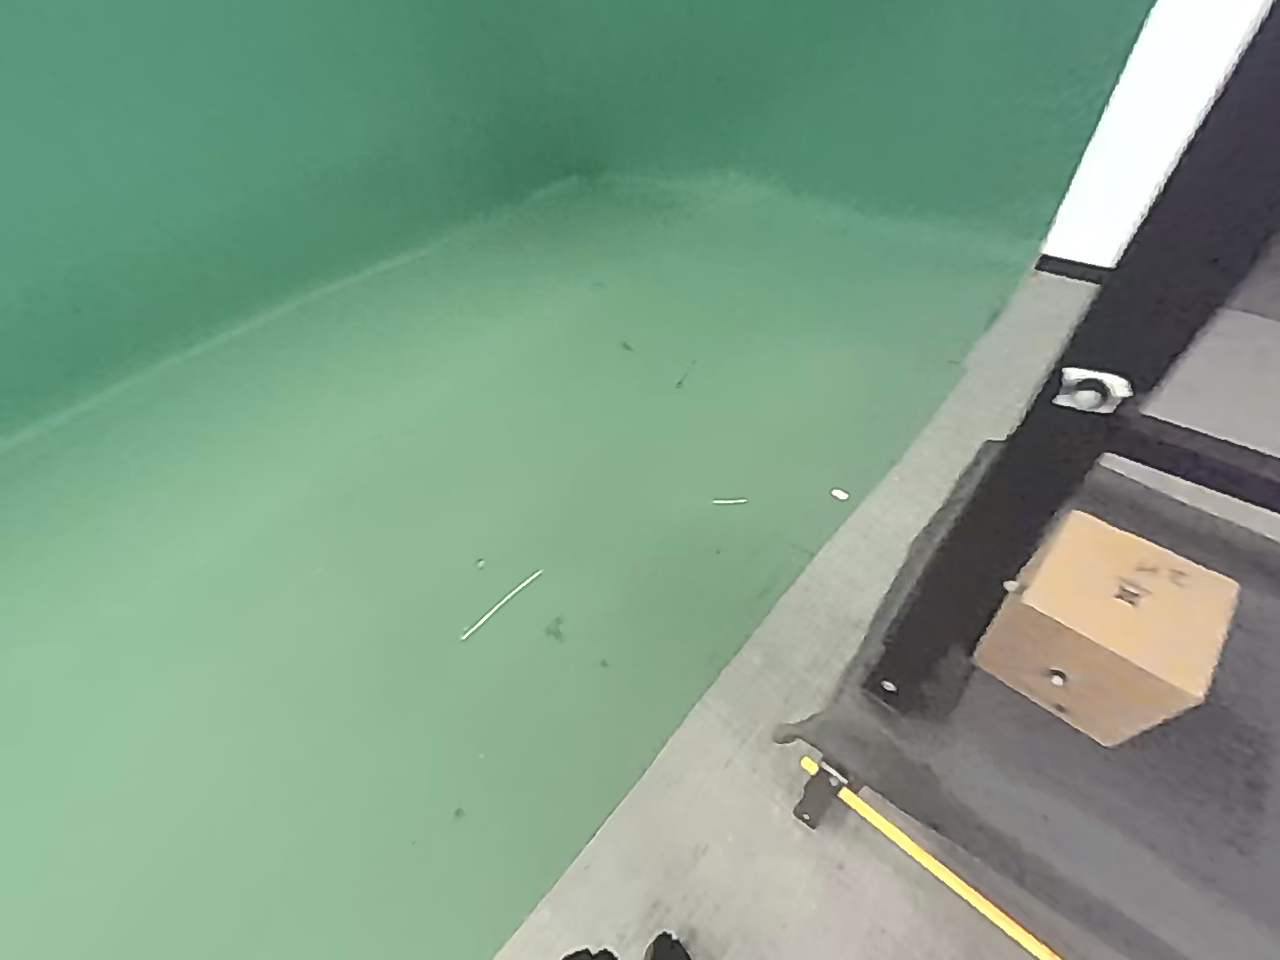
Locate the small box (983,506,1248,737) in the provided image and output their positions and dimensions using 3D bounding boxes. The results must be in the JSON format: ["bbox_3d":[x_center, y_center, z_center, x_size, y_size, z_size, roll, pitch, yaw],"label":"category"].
[{"bbox_3d":[0.553,0.173,0.654,0.168,0.176,0.179,34,61,30],"label":"small box"}]
